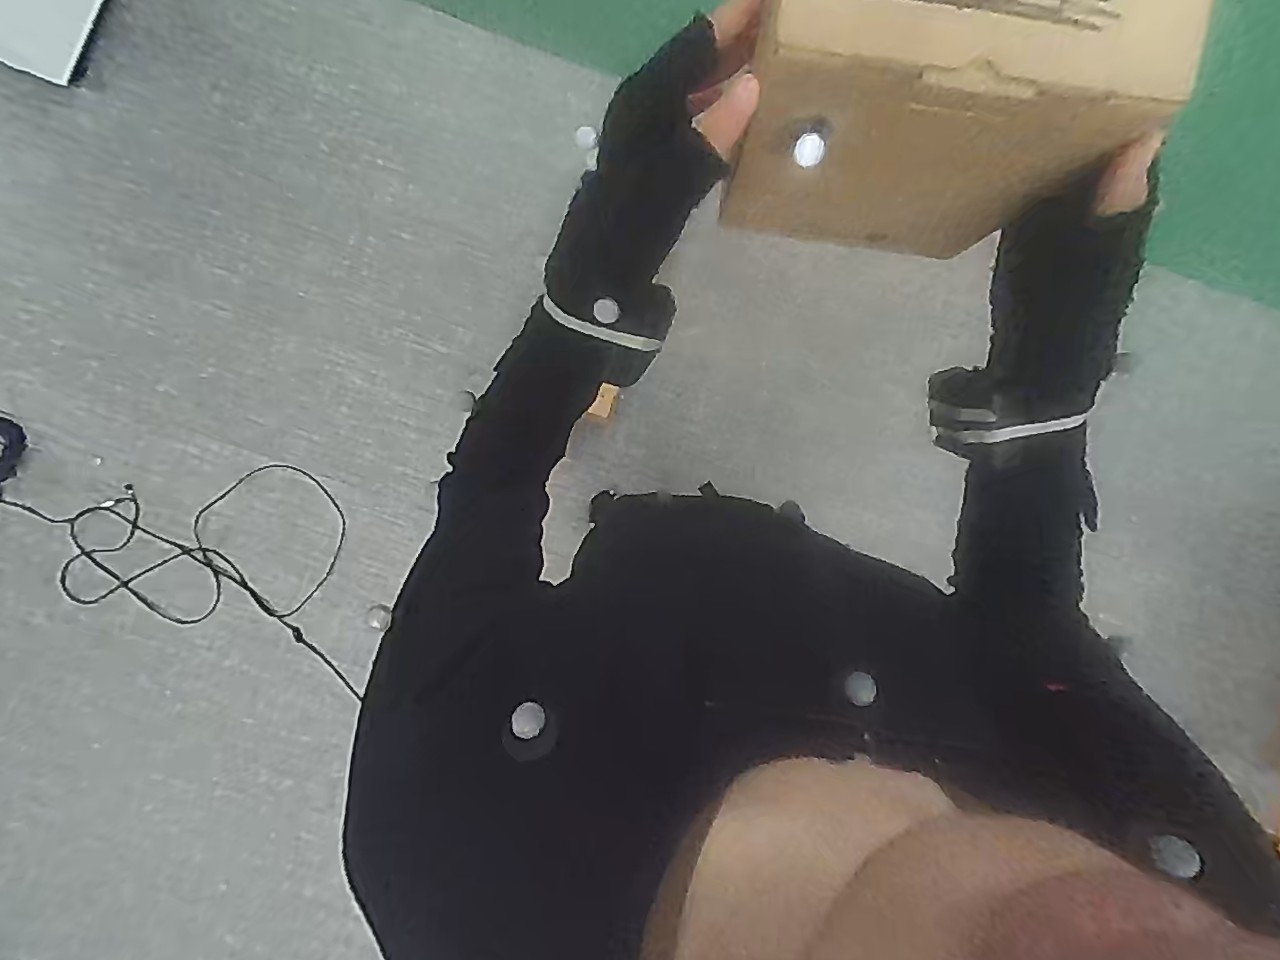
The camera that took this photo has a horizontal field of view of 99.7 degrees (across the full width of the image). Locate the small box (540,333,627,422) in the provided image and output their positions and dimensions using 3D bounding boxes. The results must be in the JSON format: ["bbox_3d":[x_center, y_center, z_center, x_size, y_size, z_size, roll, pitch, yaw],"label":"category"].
[{"bbox_3d":[-0.141,-0.257,1.406,0.179,0.176,0.168,19,89,-1],"label":"small box"}]

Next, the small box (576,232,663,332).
[{"bbox_3d":[-0.053,-0.510,1.419,0.179,0.176,0.168,21,87,-1],"label":"small box"}]
